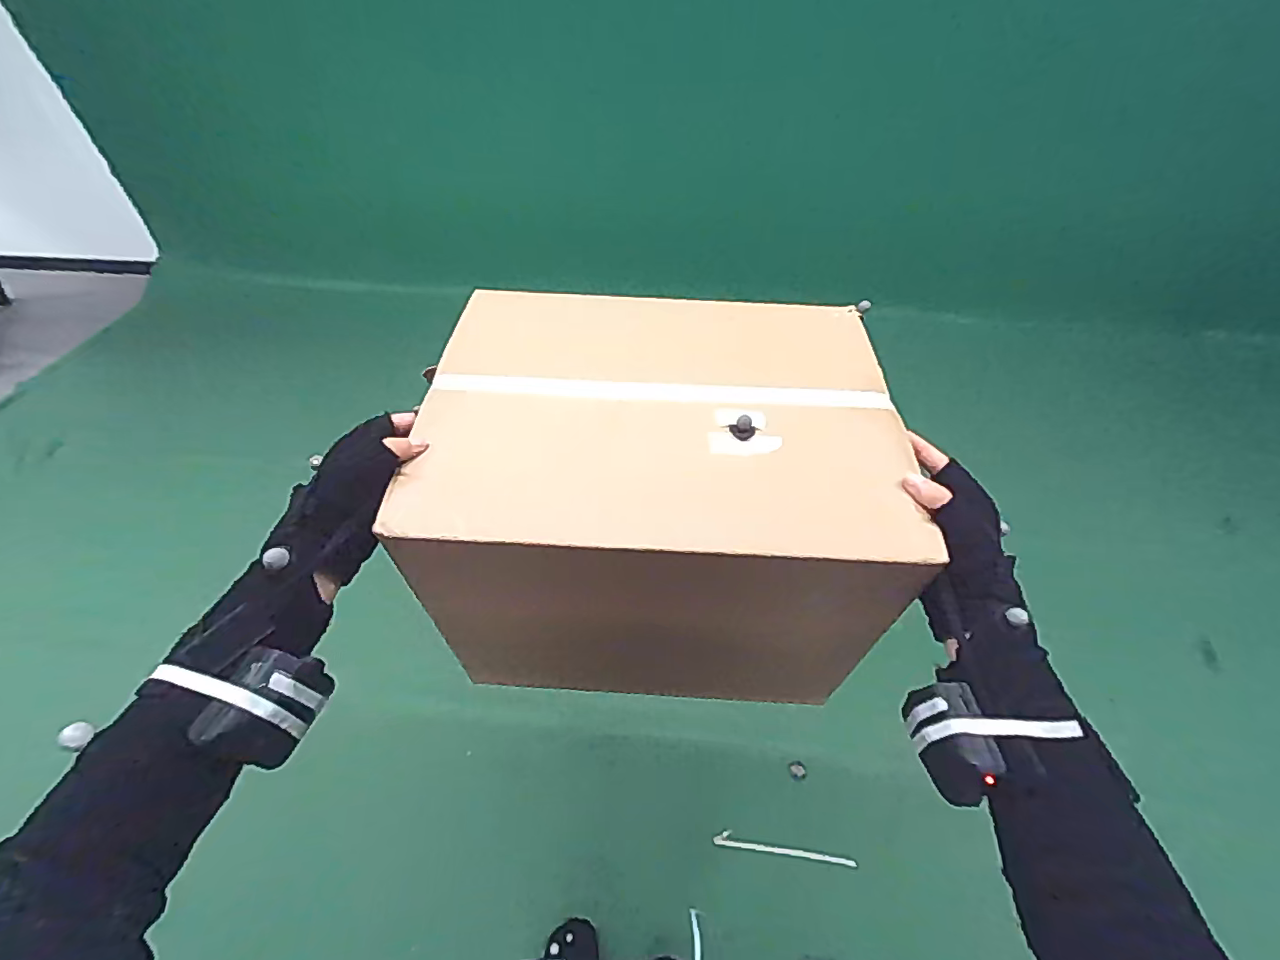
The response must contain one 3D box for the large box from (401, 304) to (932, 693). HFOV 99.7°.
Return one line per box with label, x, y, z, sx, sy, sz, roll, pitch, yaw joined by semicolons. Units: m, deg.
large box;0.017;0.029;0.604;0.408;0.320;0.320;3;51;0
